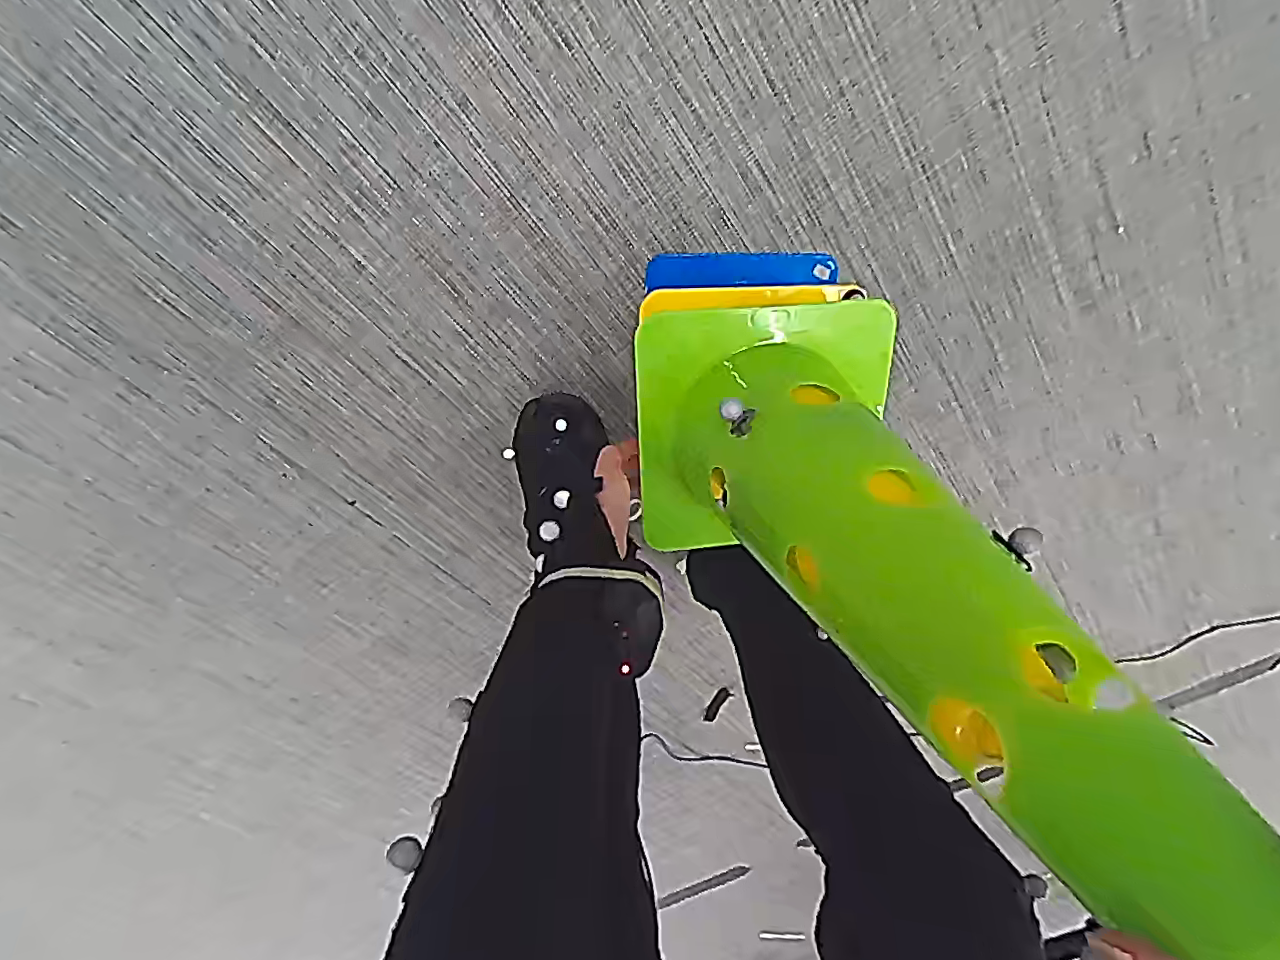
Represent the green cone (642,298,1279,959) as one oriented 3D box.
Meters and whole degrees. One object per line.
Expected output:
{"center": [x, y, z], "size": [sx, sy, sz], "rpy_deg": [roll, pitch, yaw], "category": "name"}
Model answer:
{"center": [0.123, 0.035, 0.271], "size": [0.202, 0.368, 0.200], "rpy_deg": [-5, 115, -4], "category": "green cone"}
